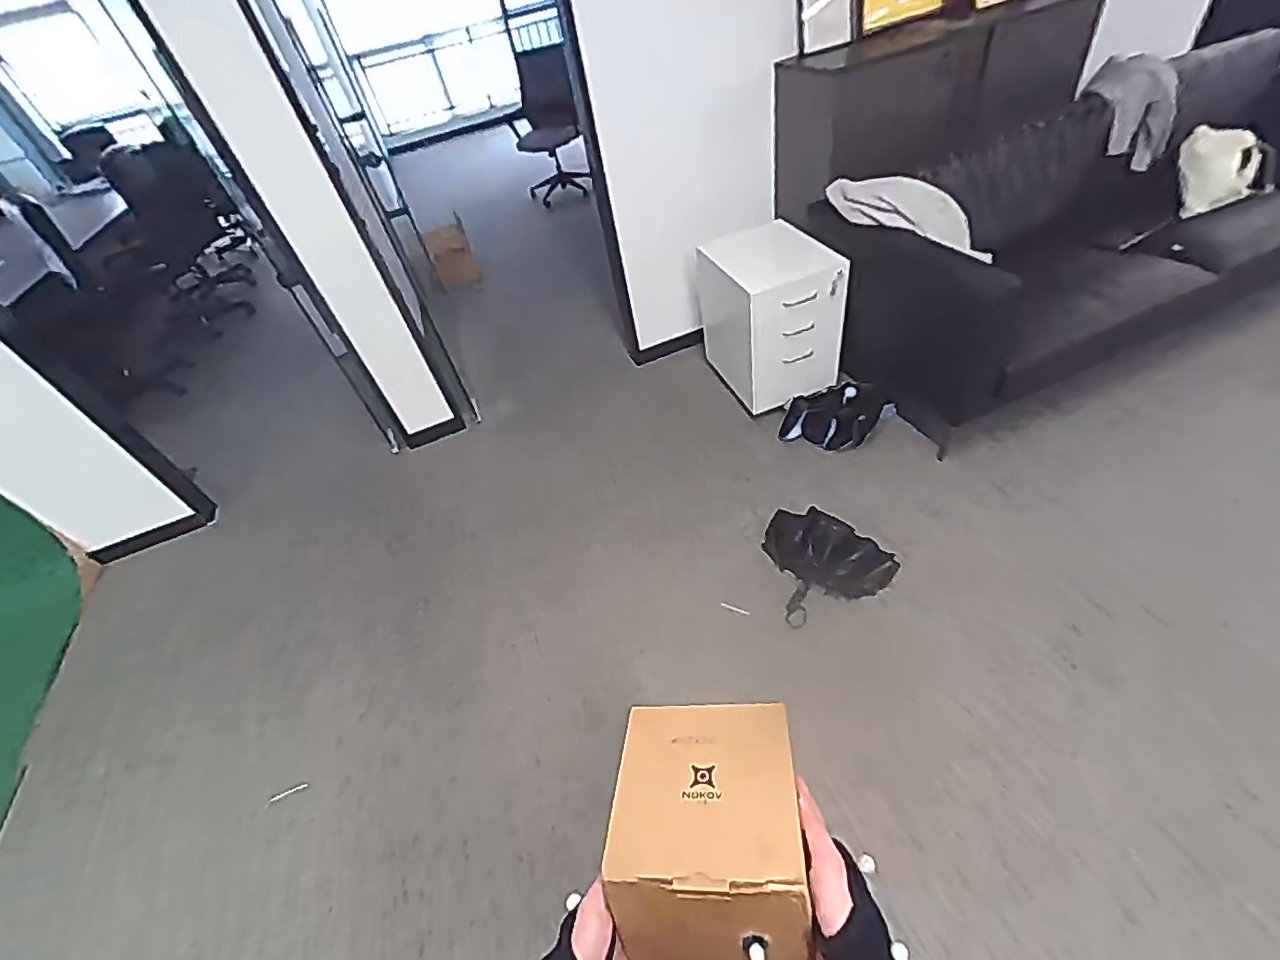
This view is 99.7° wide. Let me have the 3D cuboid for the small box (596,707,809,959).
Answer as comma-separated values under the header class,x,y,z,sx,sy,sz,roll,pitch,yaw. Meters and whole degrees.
class,x,y,z,sx,sy,sz,roll,pitch,yaw
small box,0.067,0.353,0.528,0.168,0.176,0.179,-6,23,10
